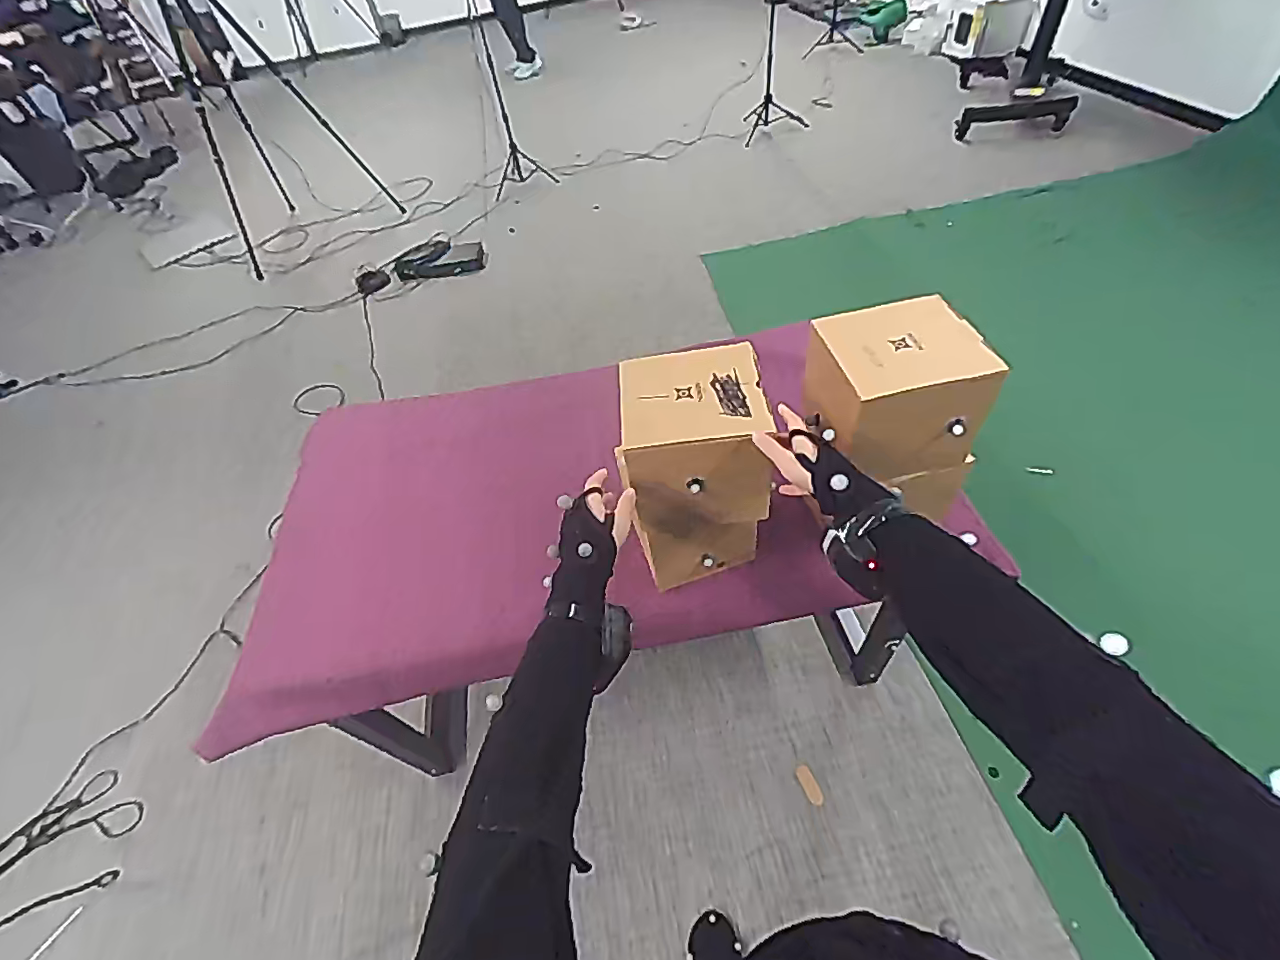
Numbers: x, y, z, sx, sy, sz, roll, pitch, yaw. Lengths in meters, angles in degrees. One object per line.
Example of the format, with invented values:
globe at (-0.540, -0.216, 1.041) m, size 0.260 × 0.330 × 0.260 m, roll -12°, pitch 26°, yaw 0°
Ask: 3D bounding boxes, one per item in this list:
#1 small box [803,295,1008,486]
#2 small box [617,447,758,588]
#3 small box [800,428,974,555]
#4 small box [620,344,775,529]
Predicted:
small box at (0.333, -0.115, 0.724) m, size 0.179 × 0.176 × 0.168 m, roll -12°, pitch 50°, yaw 1°
small box at (0.073, 0.039, 0.854) m, size 0.168 × 0.176 × 0.179 m, roll -18°, pitch 50°, yaw -5°
small box at (0.368, -0.009, 0.845) m, size 0.179 × 0.176 × 0.168 m, roll -17°, pitch 50°, yaw -2°
small box at (0.072, -0.052, 0.714) m, size 0.179 × 0.176 × 0.168 m, roll -7°, pitch 49°, yaw 5°
